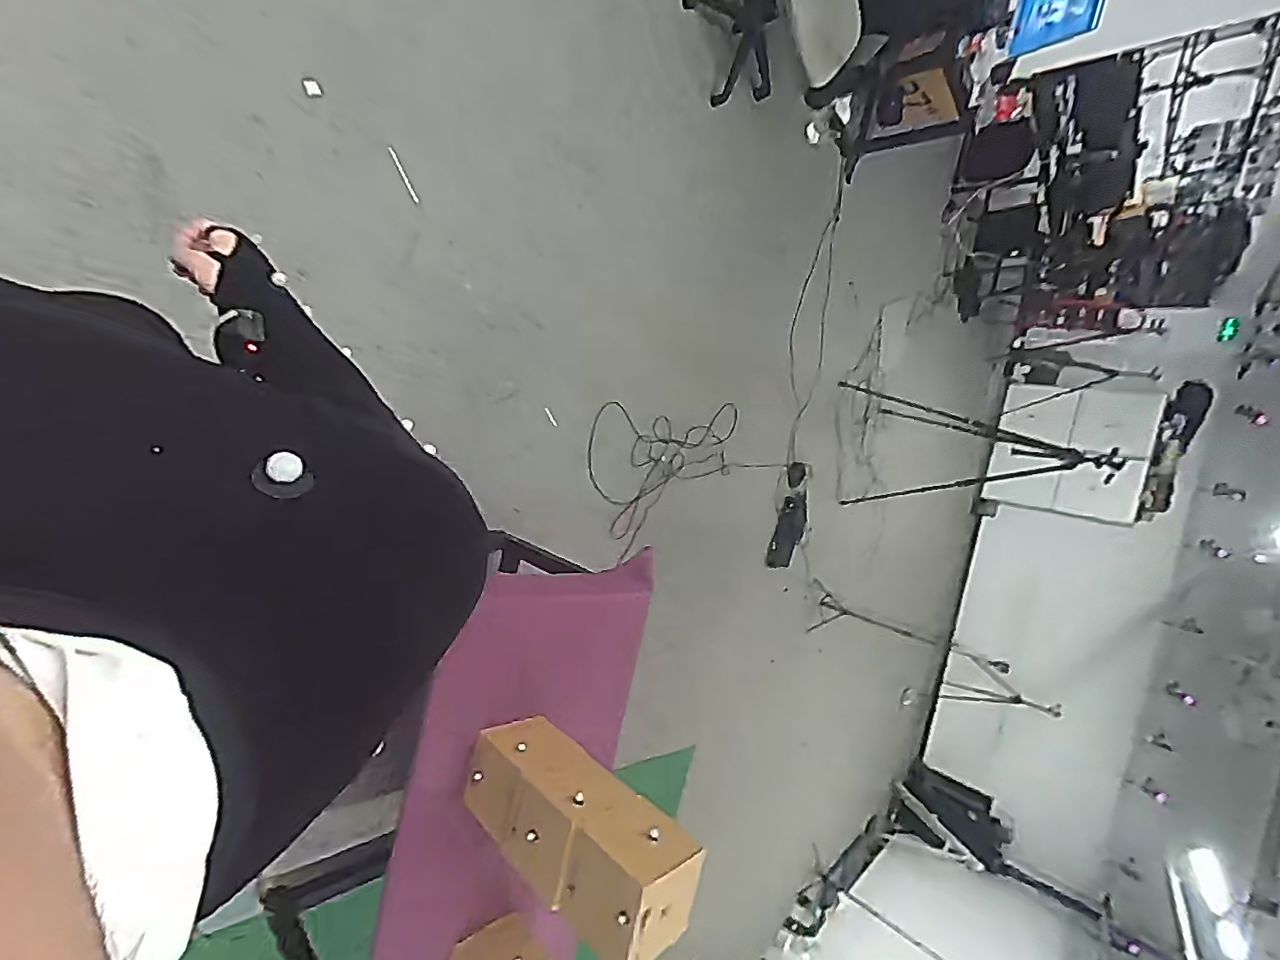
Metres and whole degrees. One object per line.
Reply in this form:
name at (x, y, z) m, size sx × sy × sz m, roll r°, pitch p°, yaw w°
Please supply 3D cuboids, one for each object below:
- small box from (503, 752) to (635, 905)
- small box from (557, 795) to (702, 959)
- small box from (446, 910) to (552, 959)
small box at (-0.144, 0.673, 1.071) m, size 0.179 × 0.176 × 0.168 m, roll 13°, pitch 92°, yaw -49°
small box at (-0.019, 0.707, 0.969) m, size 0.179 × 0.176 × 0.168 m, roll 10°, pitch 93°, yaw -49°
small box at (-0.339, 1.157, 1.251) m, size 0.179 × 0.176 × 0.168 m, roll 14°, pitch 89°, yaw -49°
